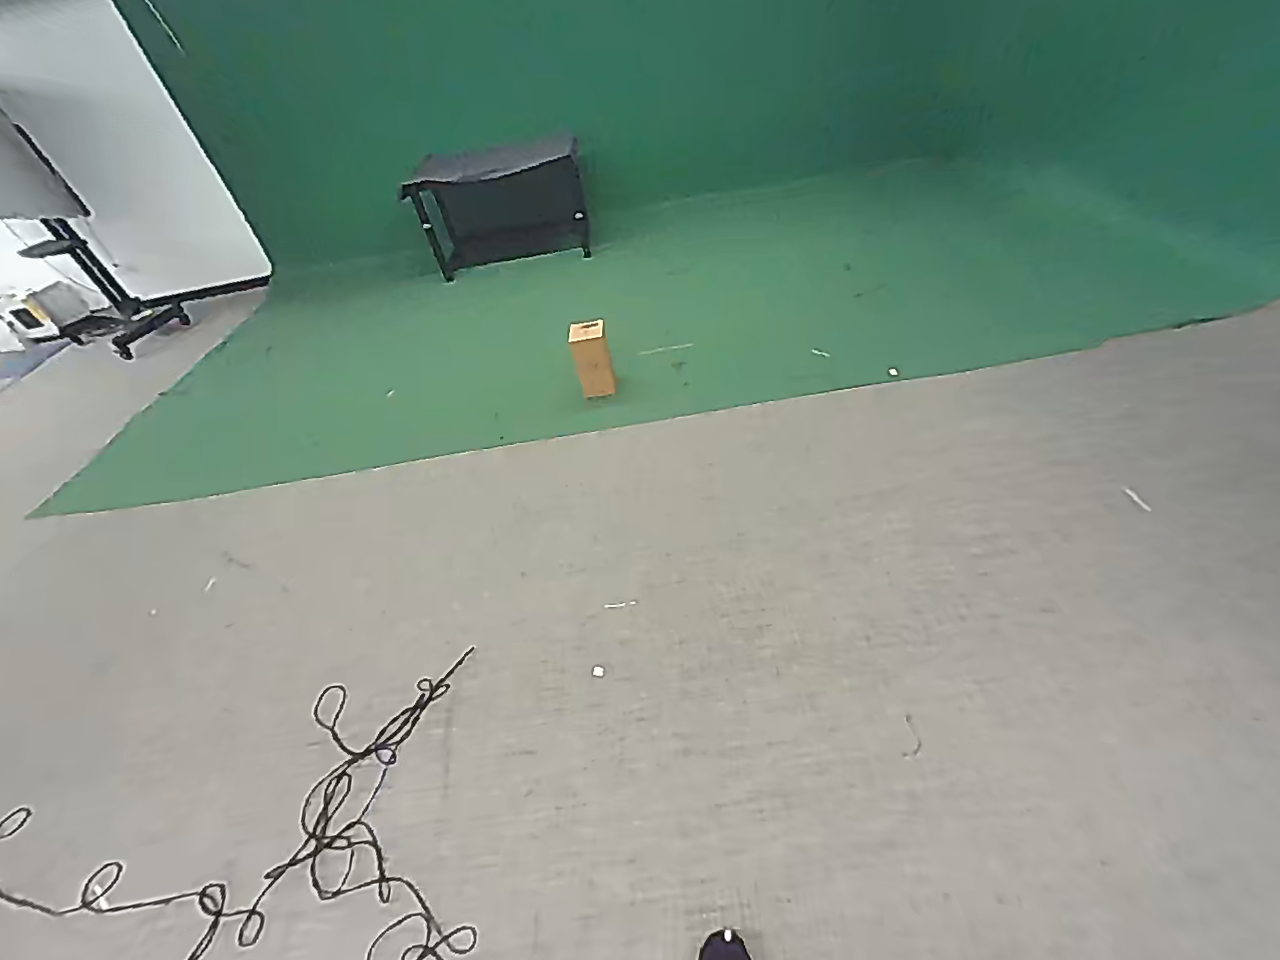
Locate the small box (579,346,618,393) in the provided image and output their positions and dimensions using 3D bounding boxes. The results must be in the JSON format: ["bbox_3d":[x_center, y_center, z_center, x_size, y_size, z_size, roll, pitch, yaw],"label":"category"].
[{"bbox_3d":[-0.208,-0.561,2.772,0.168,0.176,0.179,-9,42,5],"label":"small box"}]
